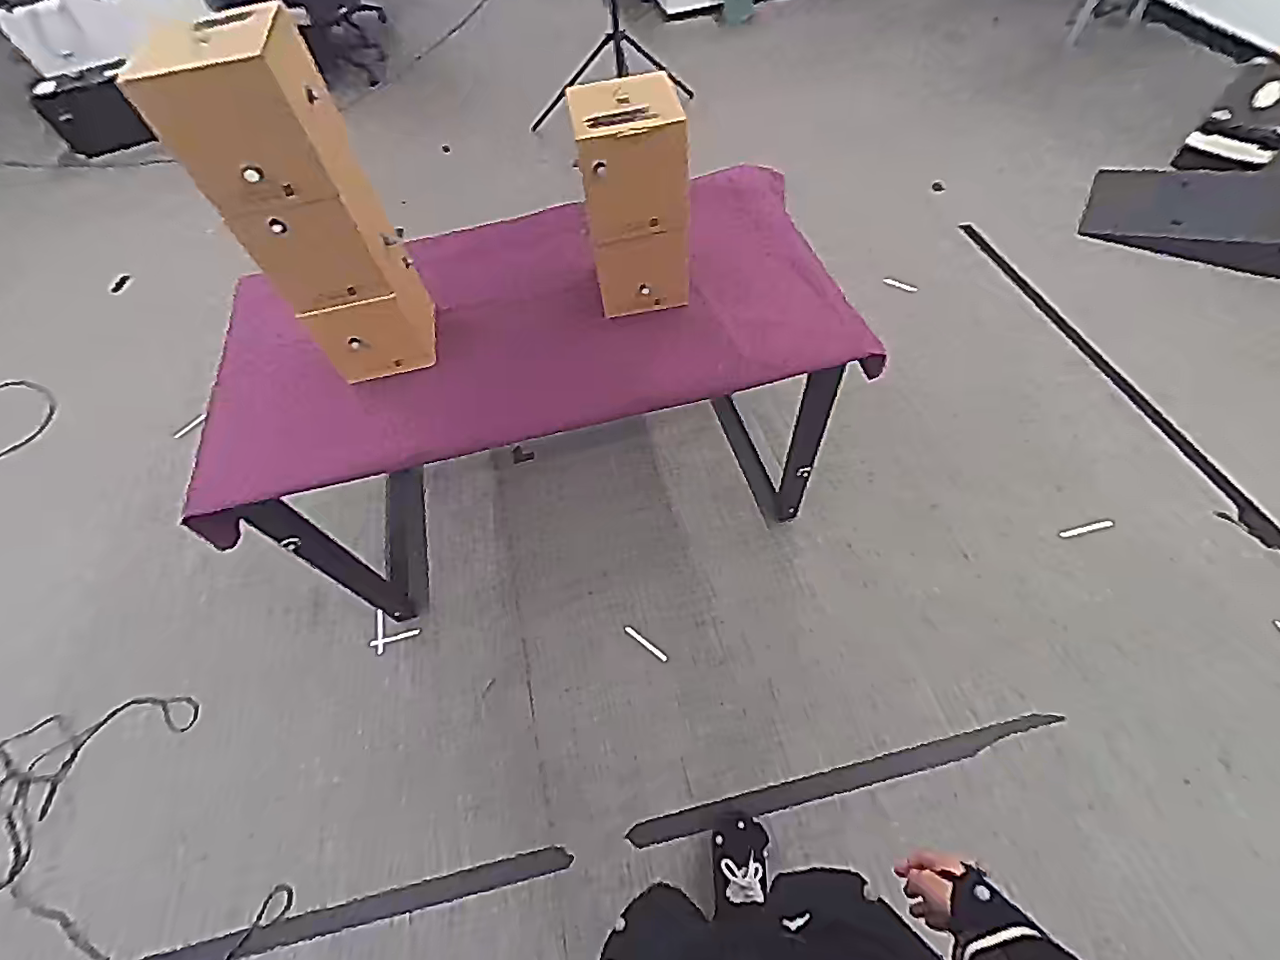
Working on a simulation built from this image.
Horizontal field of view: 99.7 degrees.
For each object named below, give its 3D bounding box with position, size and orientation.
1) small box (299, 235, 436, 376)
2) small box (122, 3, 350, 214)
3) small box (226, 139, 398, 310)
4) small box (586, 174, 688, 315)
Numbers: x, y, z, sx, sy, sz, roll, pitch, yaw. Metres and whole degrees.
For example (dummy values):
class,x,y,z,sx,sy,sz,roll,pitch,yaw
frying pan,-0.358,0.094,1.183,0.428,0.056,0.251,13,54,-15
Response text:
class,x,y,z,sx,sy,sz,roll,pitch,yaw
small box,-0.488,-0.312,0.996,0.168,0.176,0.179,-13,58,-3
small box,-0.512,-0.489,0.721,0.168,0.176,0.179,-13,58,-3
small box,-0.504,-0.403,0.861,0.168,0.176,0.179,-14,57,-3
small box,-0.004,-0.446,1.031,0.168,0.176,0.179,-10,58,0
